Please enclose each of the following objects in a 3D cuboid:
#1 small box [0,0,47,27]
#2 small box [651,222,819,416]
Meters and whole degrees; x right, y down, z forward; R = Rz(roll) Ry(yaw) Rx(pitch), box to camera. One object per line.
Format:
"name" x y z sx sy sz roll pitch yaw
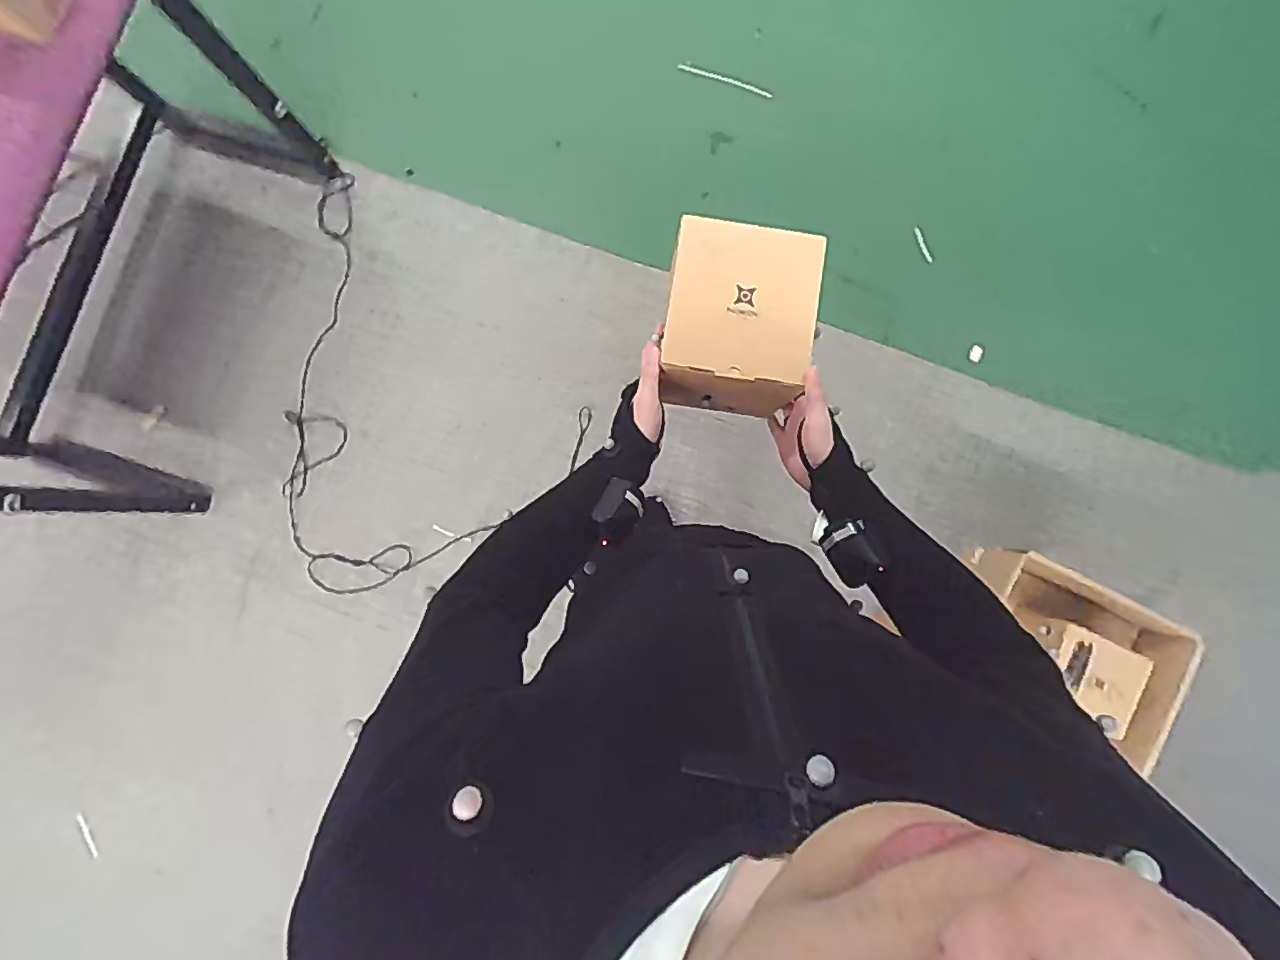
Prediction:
"small box" -1.131 -0.901 0.884 0.179 0.176 0.168 19 89 1
"small box" 0.107 -0.189 0.681 0.168 0.176 0.179 8 87 -2
